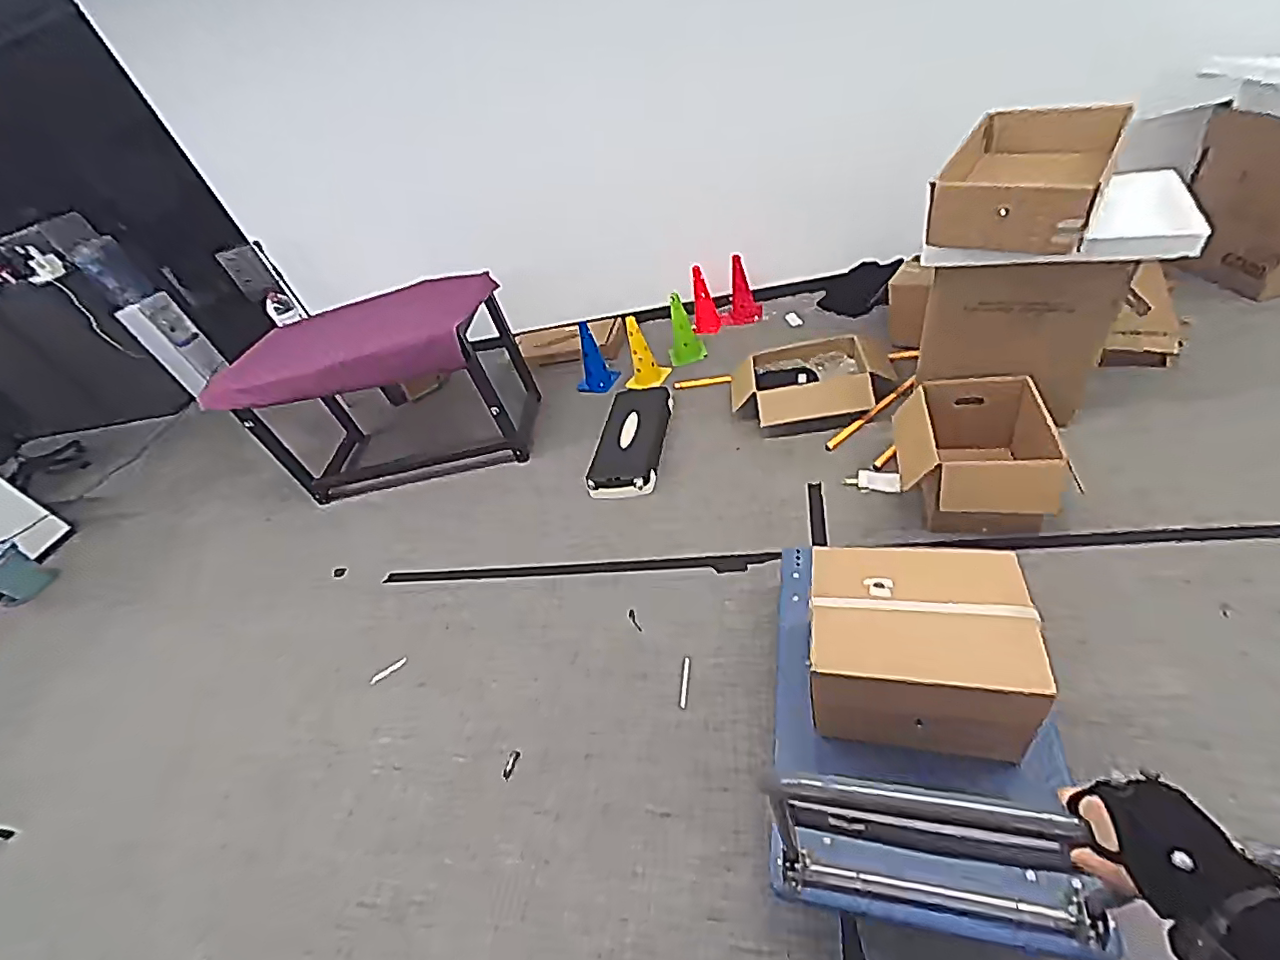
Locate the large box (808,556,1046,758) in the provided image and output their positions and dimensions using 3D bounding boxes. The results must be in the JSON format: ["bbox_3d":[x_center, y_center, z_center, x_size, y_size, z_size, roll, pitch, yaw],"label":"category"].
[{"bbox_3d":[0.592,0.383,1.199,0.408,0.320,0.320,-2,42,20],"label":"large box"}]
